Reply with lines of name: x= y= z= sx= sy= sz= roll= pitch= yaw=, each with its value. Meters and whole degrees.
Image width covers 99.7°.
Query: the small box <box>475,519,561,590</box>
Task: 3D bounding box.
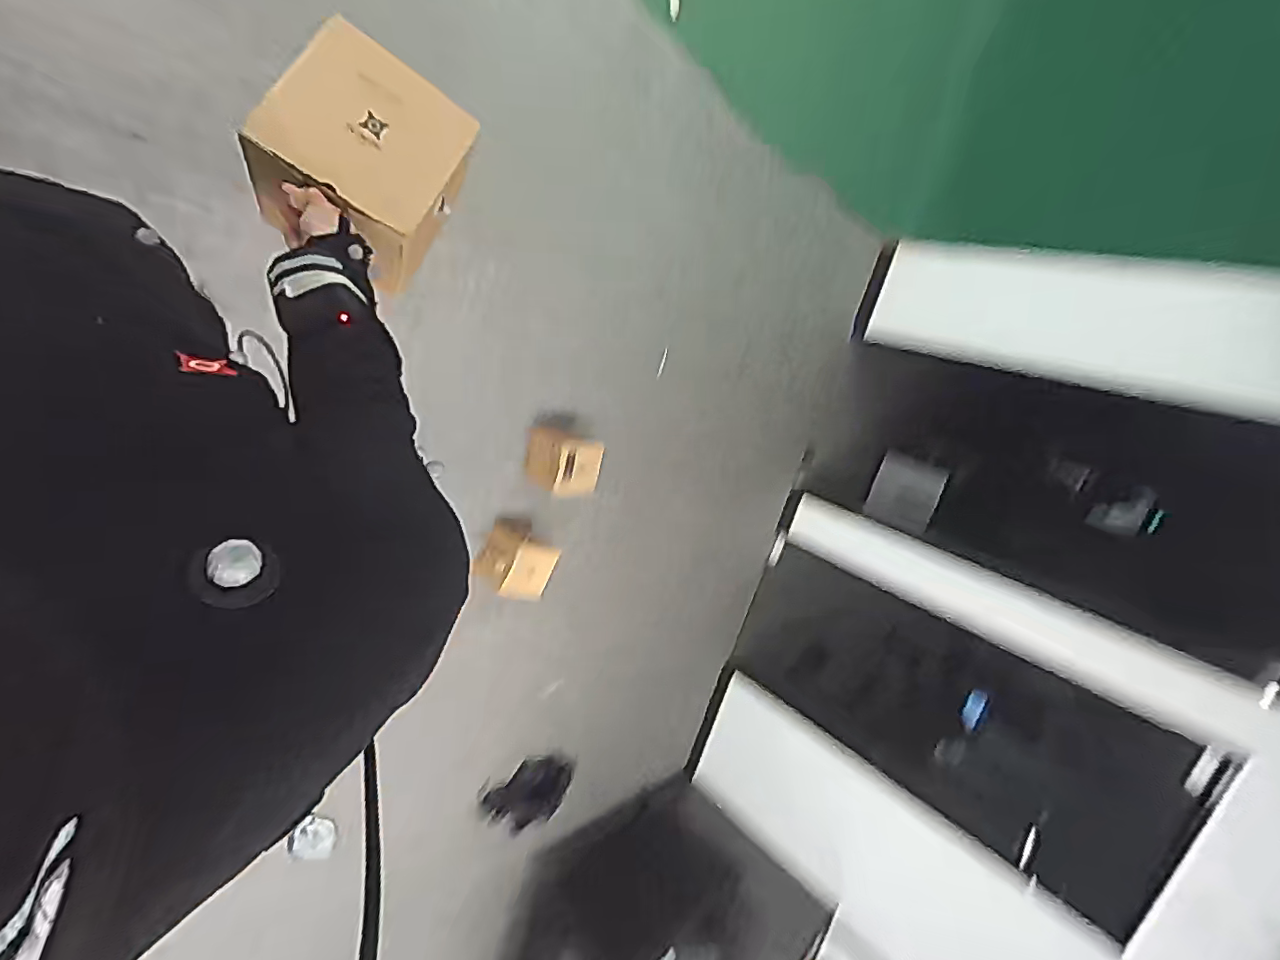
small box: x=-0.396 y=0.241 z=1.749 sx=0.179 sy=0.176 sz=0.168 roll=19 pitch=97 yaw=-51
